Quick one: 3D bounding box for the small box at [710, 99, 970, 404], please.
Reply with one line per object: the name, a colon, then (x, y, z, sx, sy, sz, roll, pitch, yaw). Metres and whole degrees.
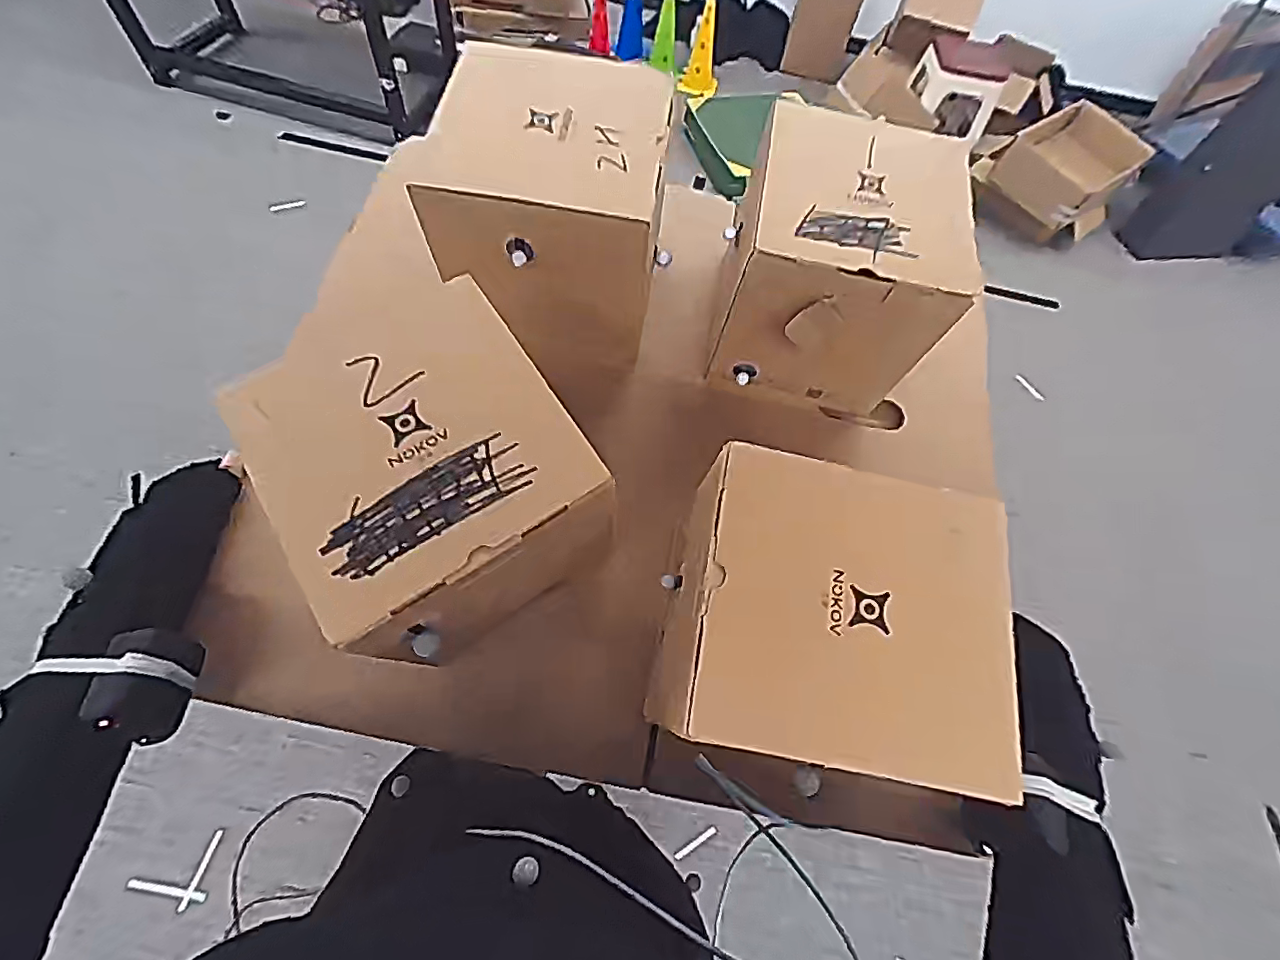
small box: (0.167, -0.192, 0.492, 0.168, 0.176, 0.179, 13, 67, -1)

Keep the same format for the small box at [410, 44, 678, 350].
small box: (-0.070, -0.238, 0.484, 0.179, 0.176, 0.168, 9, 69, 0)
